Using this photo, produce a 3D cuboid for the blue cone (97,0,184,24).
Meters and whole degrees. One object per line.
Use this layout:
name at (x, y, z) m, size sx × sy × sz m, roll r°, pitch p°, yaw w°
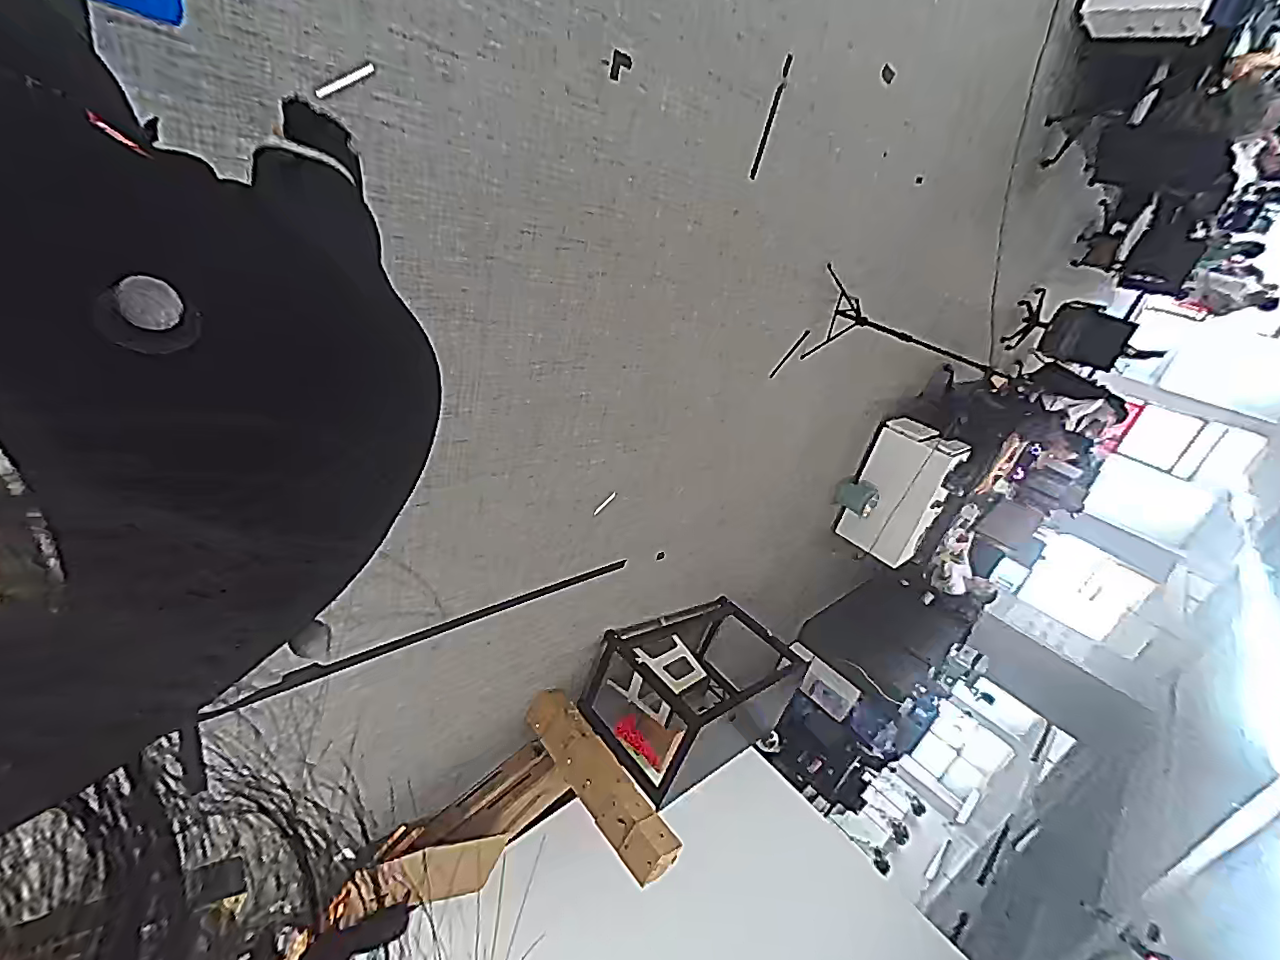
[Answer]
blue cone at (-0.732, -0.776, 0.743) m, size 0.193 × 0.380 × 0.192 m, roll -14°, pitch 127°, yaw -43°
